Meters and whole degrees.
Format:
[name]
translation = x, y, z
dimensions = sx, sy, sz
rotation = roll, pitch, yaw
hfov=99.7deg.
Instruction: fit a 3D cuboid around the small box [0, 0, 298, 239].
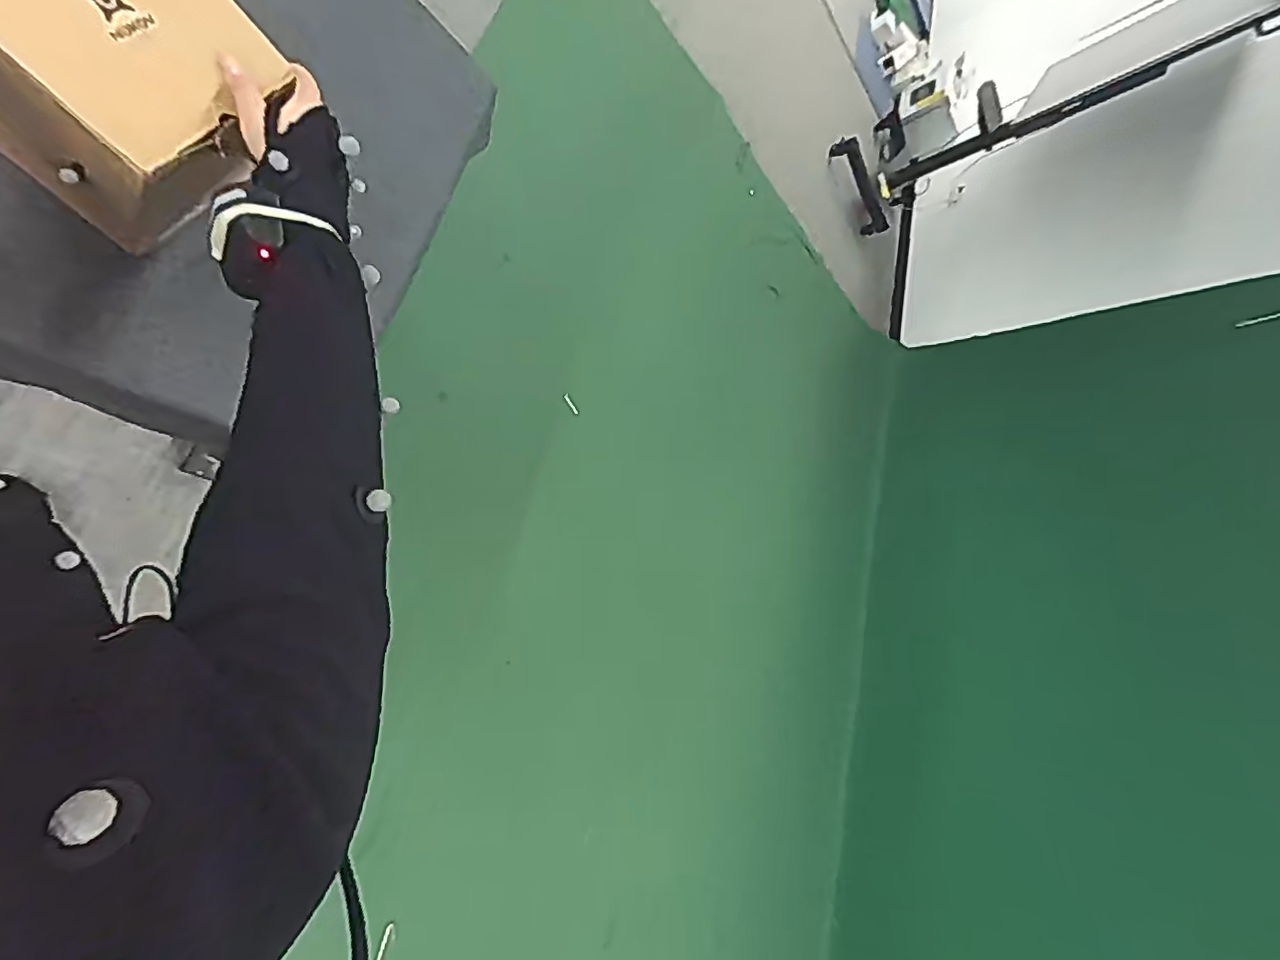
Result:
[small box]
translation = -0.433, -0.328, 0.442
dimensions = 0.179, 0.176, 0.168
rotation = 46, 55, -32
